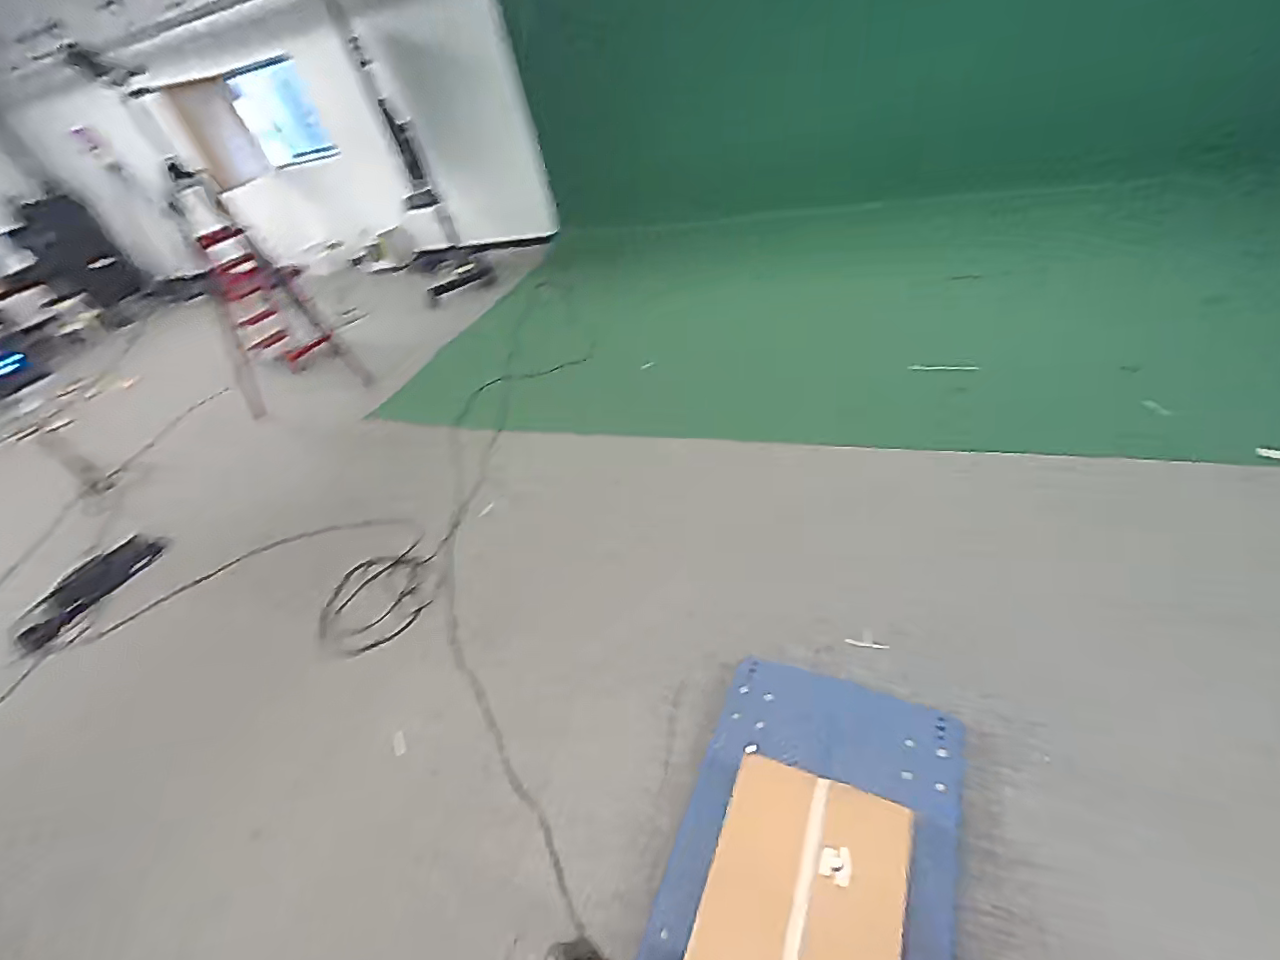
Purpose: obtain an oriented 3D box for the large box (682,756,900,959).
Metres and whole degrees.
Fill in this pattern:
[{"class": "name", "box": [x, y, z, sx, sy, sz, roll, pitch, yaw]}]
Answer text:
[{"class": "large box", "box": [0.297, 0.833, 1.026, 0.320, 0.320, 0.408, 9, 45, 25]}]
